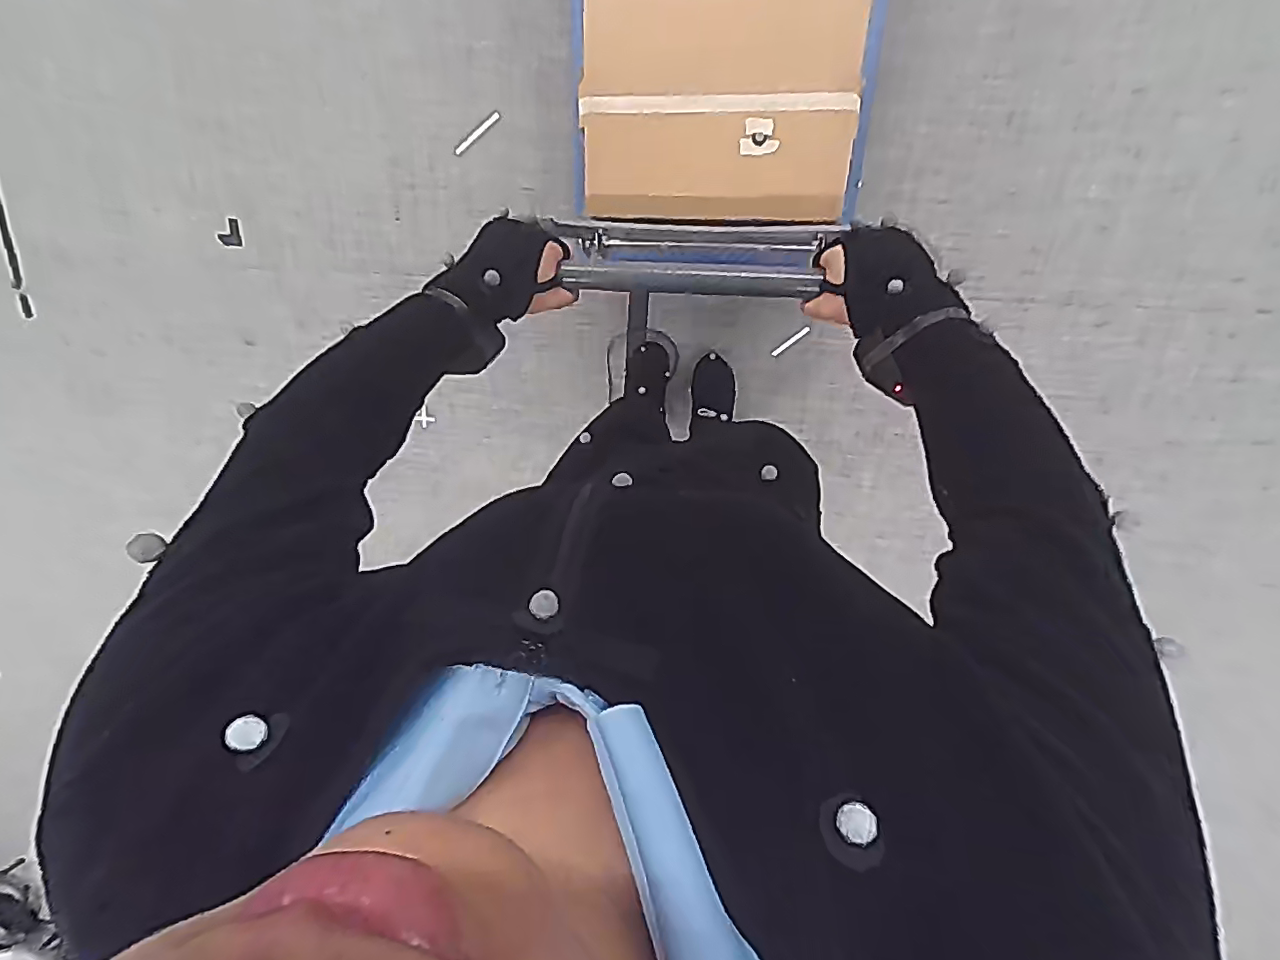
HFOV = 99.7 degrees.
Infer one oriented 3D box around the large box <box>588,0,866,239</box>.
[{"bbox_3d":[0.135,-0.610,0.958,0.408,0.320,0.320,3,111,6],"label":"large box"}]
